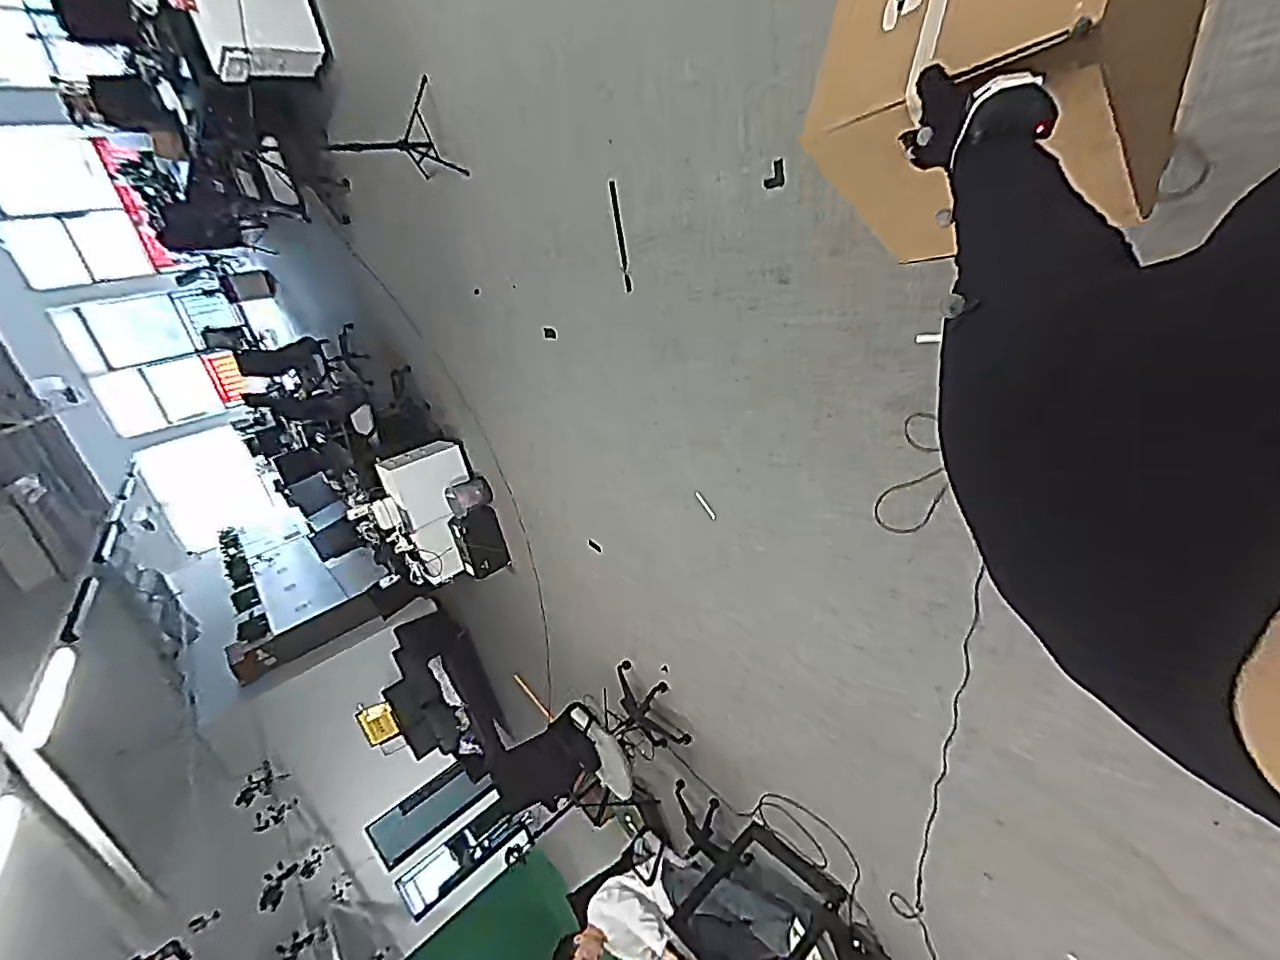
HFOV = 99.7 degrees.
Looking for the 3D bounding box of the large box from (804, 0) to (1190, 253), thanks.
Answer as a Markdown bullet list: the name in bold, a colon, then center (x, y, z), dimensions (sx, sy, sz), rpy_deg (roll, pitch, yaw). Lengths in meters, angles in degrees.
- **large box**: center (0.471, -0.579, 0.702), dimensions (0.320, 0.320, 0.408), rpy_deg (13, 87, 52)
